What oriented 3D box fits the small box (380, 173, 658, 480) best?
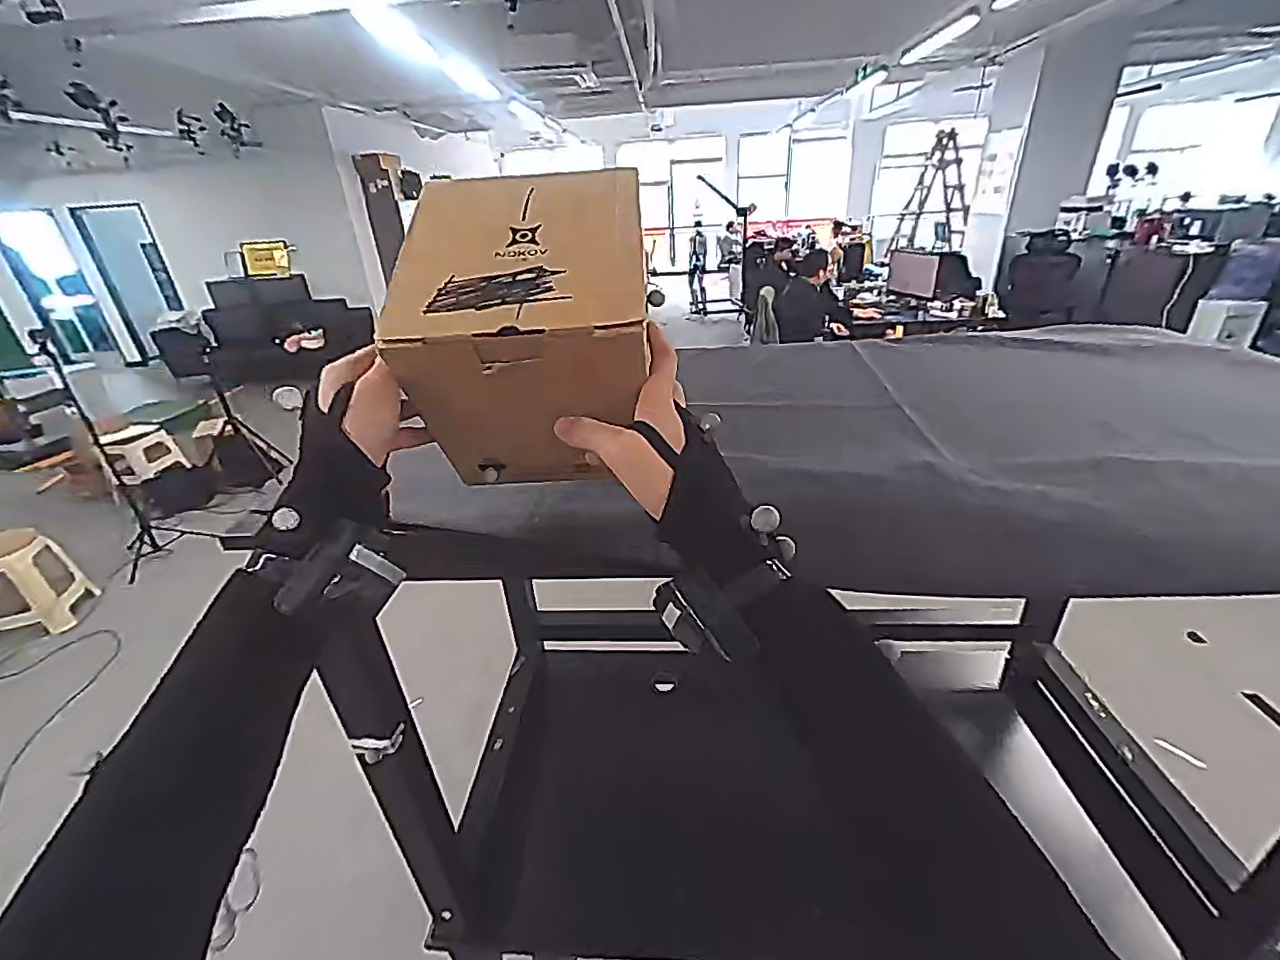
[{"bbox_3d":[-0.072,-0.110,0.432,0.168,0.176,0.179,-3,57,2],"label":"small box"}]
